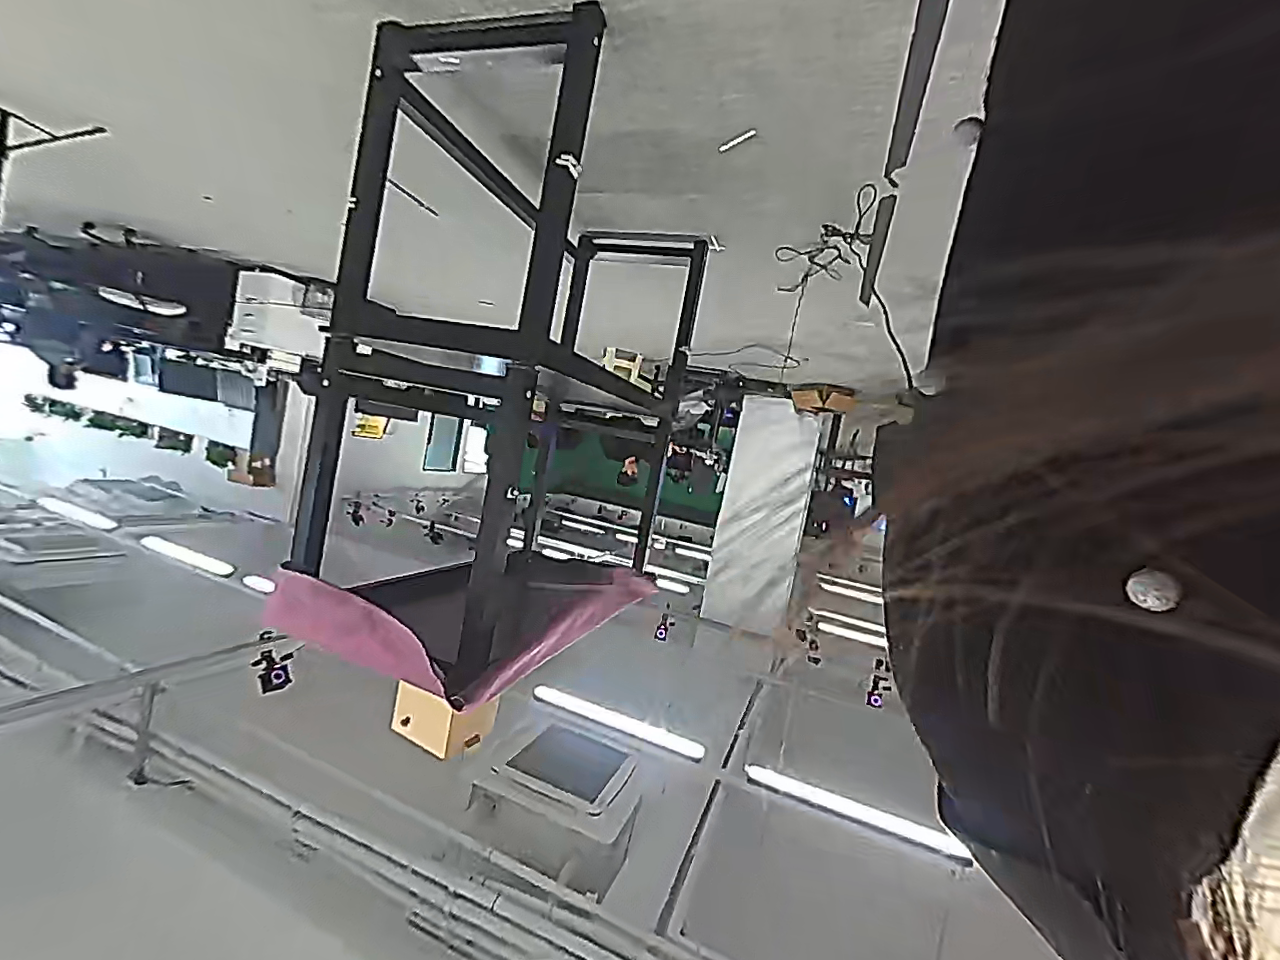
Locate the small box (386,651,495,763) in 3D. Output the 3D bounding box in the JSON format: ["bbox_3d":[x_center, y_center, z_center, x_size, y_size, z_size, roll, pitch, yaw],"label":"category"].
[{"bbox_3d":[-0.472,0.532,1.299,0.179,0.176,0.168,13,-175,25],"label":"small box"}]
